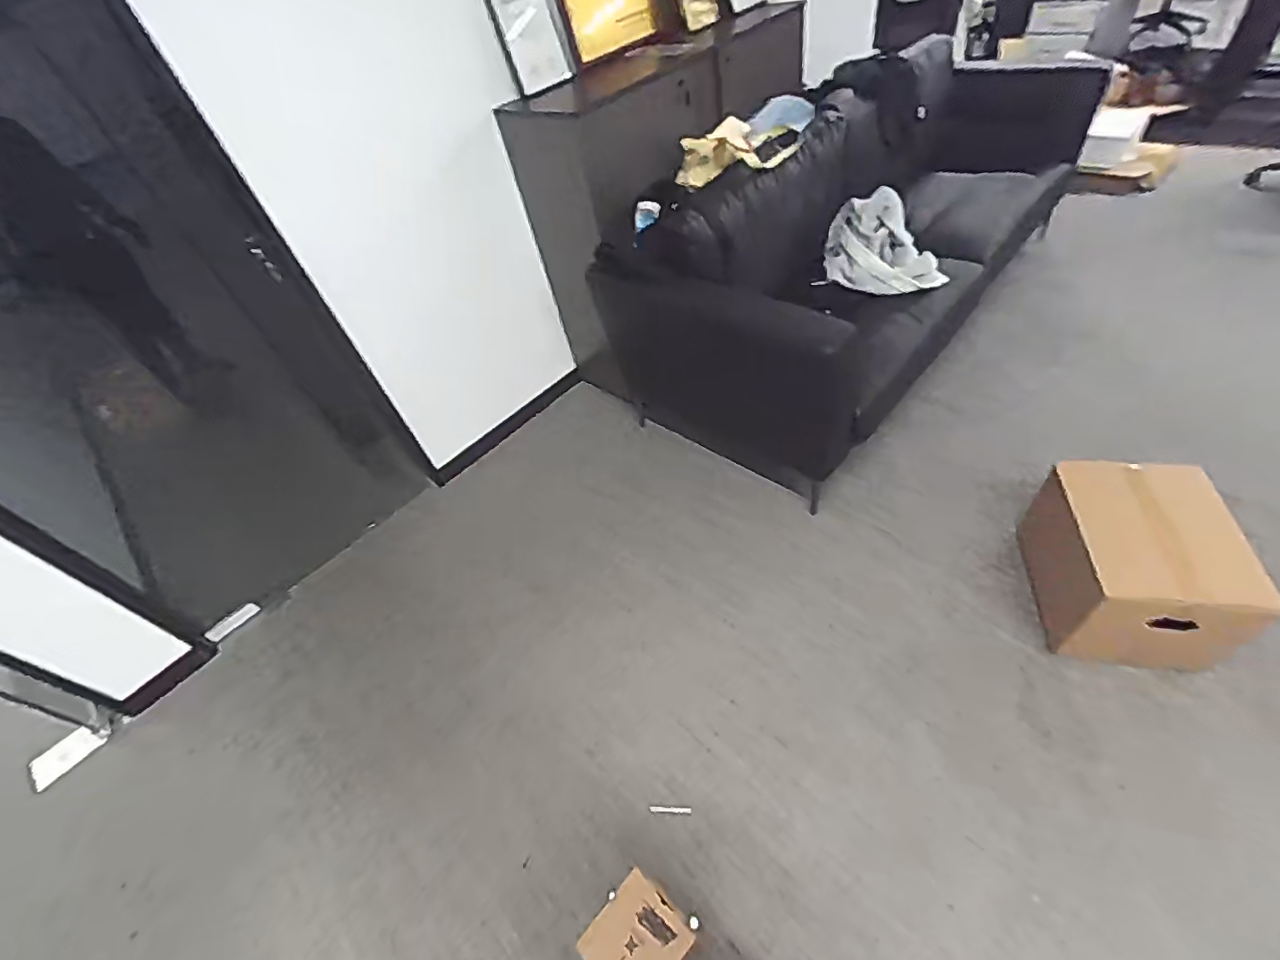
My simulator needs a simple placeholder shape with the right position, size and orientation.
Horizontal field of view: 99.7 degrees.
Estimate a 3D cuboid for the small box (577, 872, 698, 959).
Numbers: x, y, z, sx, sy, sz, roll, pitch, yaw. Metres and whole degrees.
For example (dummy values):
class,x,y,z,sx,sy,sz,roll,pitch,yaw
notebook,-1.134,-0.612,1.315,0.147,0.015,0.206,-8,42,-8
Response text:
class,x,y,z,sx,sy,sz,roll,pitch,yaw
small box,0.004,0.945,1.092,0.168,0.176,0.179,32,62,35
